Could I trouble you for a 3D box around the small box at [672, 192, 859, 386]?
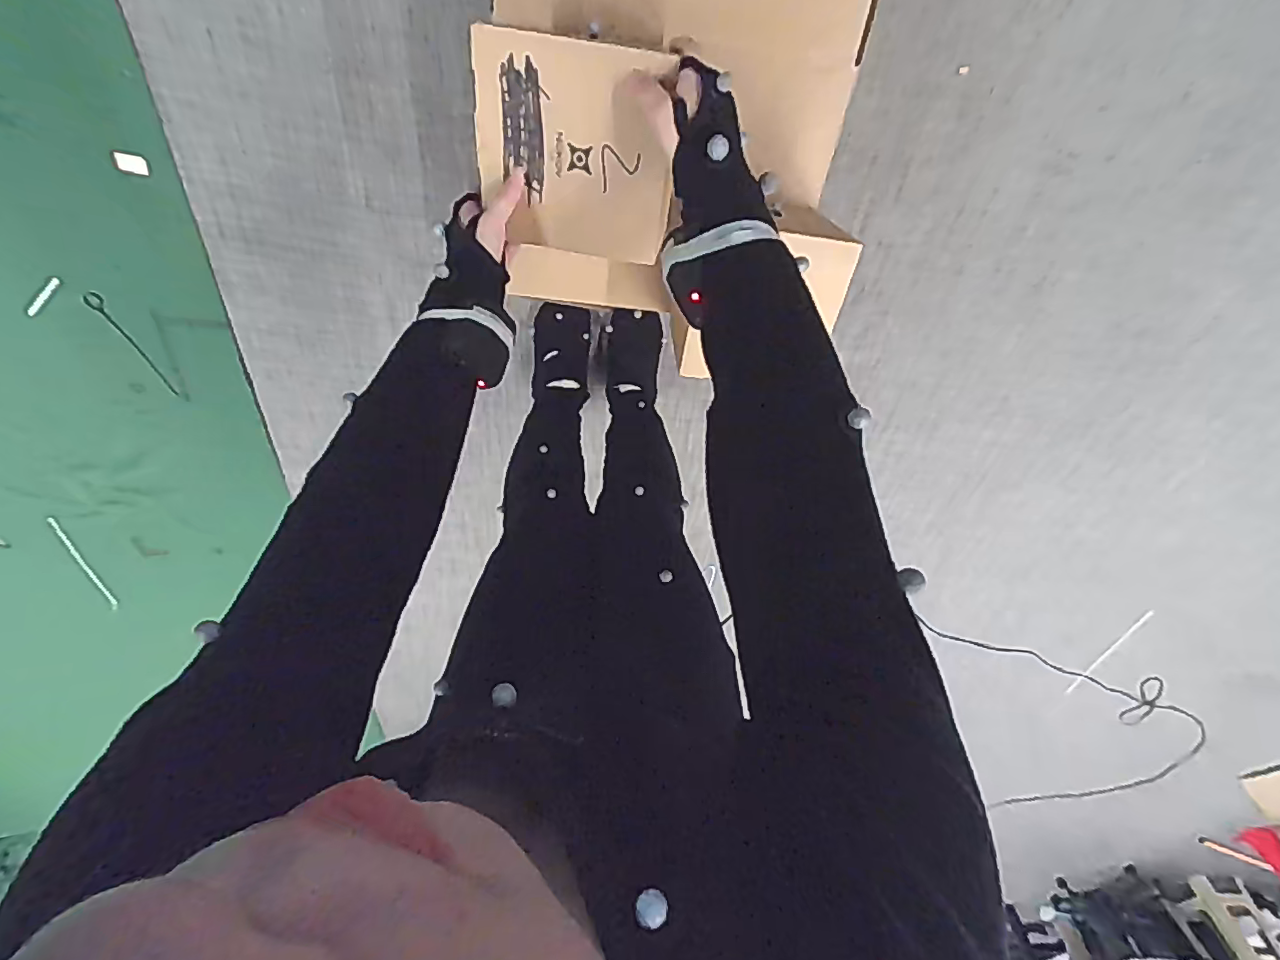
[{"bbox_3d":[0.136,-0.240,0.669,0.168,0.176,0.179,6,127,-6],"label":"small box"}]
